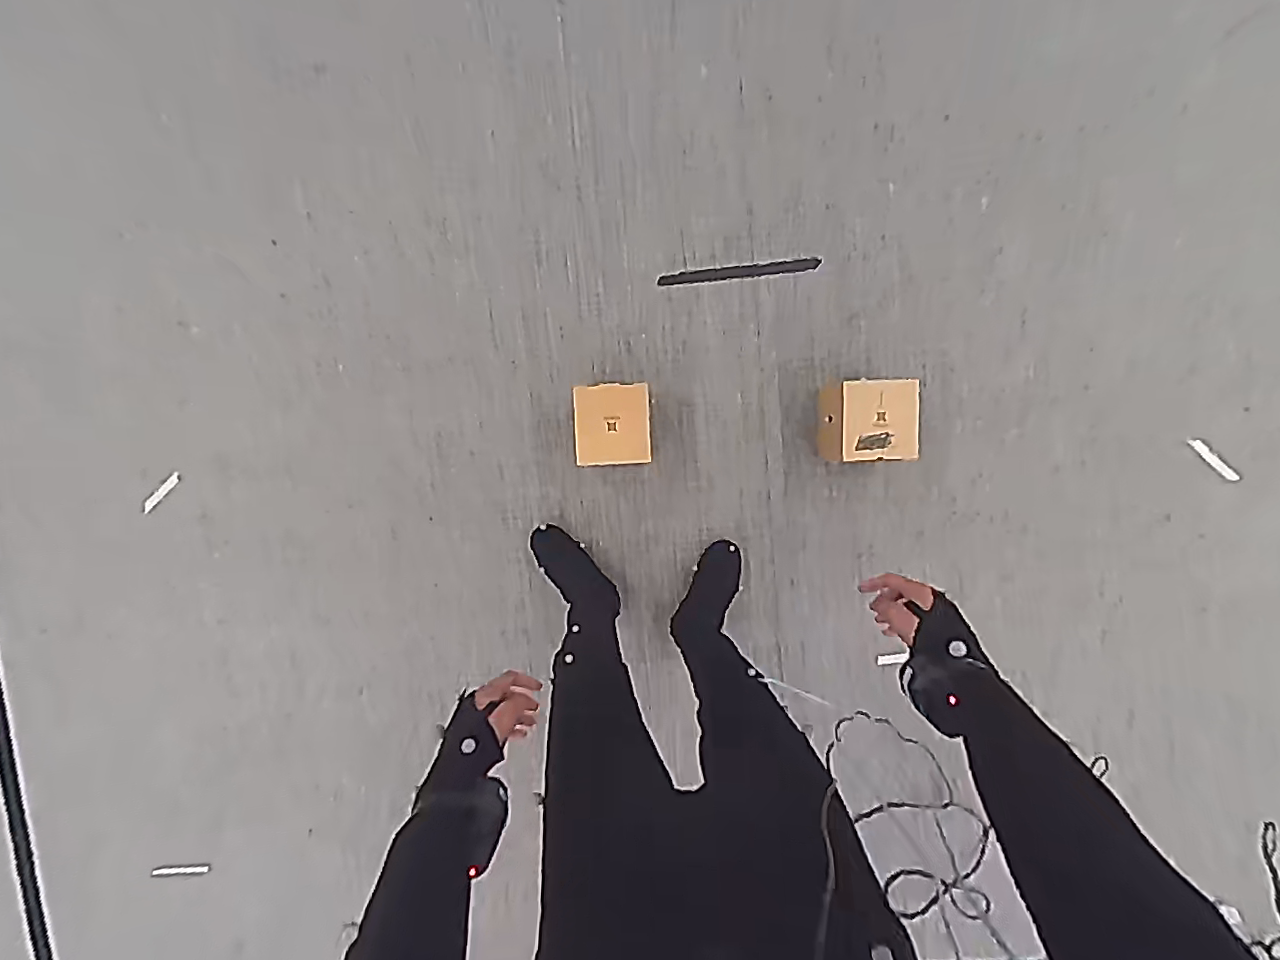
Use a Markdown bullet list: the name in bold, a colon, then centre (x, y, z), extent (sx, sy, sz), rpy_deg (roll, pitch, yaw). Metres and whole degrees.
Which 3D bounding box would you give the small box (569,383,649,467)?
- **small box**: centre (-0.066, -0.126, 1.248), extent (0.168, 0.176, 0.179), rpy_deg (-3, 94, 2)

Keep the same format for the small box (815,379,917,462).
- **small box**: centre (0.508, -0.134, 1.235), extent (0.168, 0.176, 0.179), rpy_deg (-1, 94, 0)
